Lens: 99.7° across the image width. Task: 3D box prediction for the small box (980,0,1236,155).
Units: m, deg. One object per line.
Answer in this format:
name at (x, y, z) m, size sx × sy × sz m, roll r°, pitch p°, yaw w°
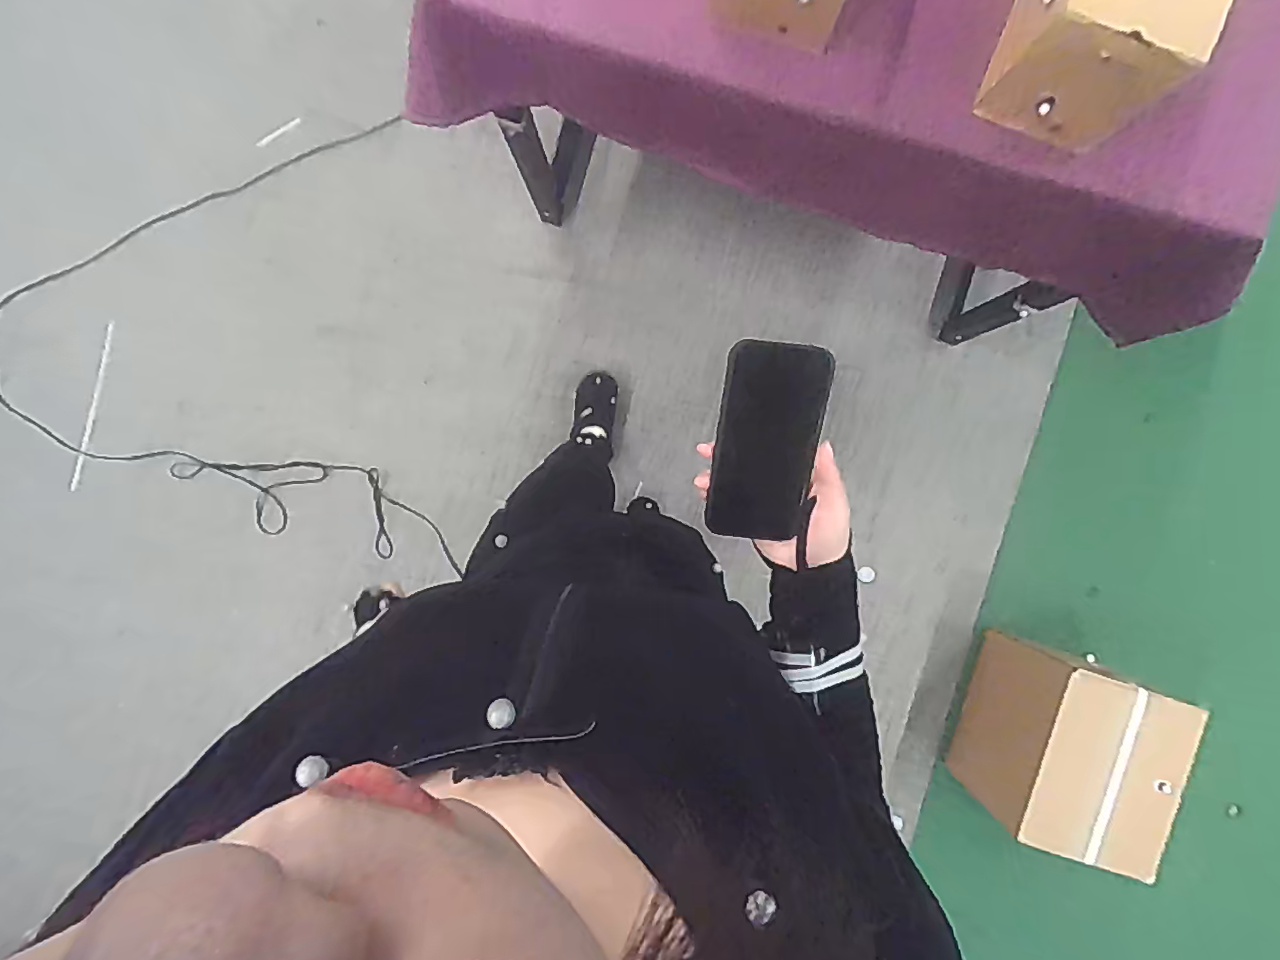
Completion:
small box at (0.559, -0.546, 0.654) m, size 0.168 × 0.176 × 0.179 m, roll 21°, pitch 92°, yaw 0°
